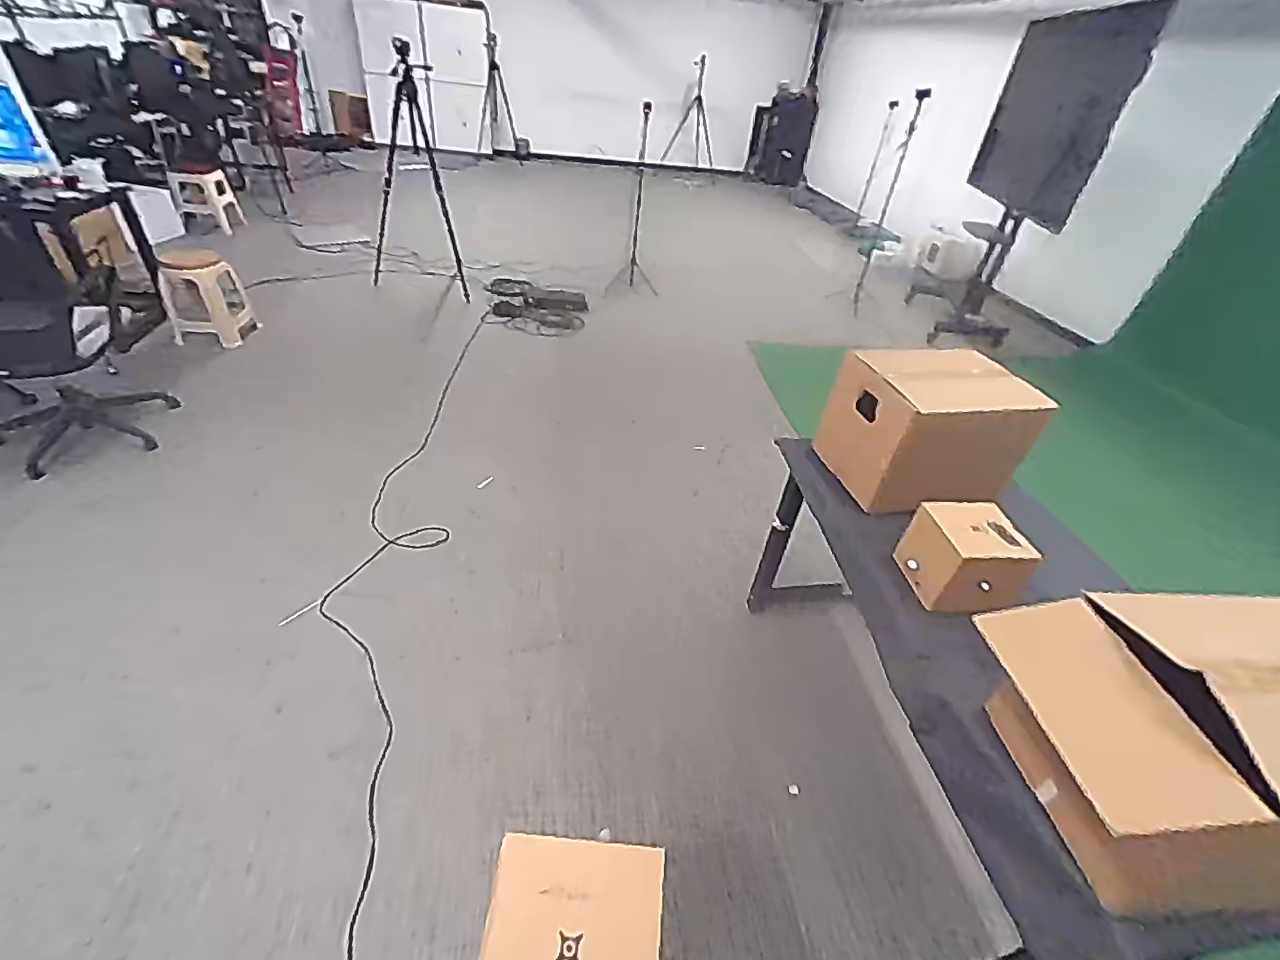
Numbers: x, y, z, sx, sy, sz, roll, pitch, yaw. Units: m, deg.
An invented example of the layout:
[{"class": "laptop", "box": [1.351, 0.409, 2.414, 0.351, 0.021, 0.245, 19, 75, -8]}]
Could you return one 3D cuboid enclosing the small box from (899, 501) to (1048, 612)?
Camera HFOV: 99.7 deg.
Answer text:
[{"class": "small box", "box": [0.688, 0.163, 1.139, 0.179, 0.176, 0.168, 1, 39, -7]}]
